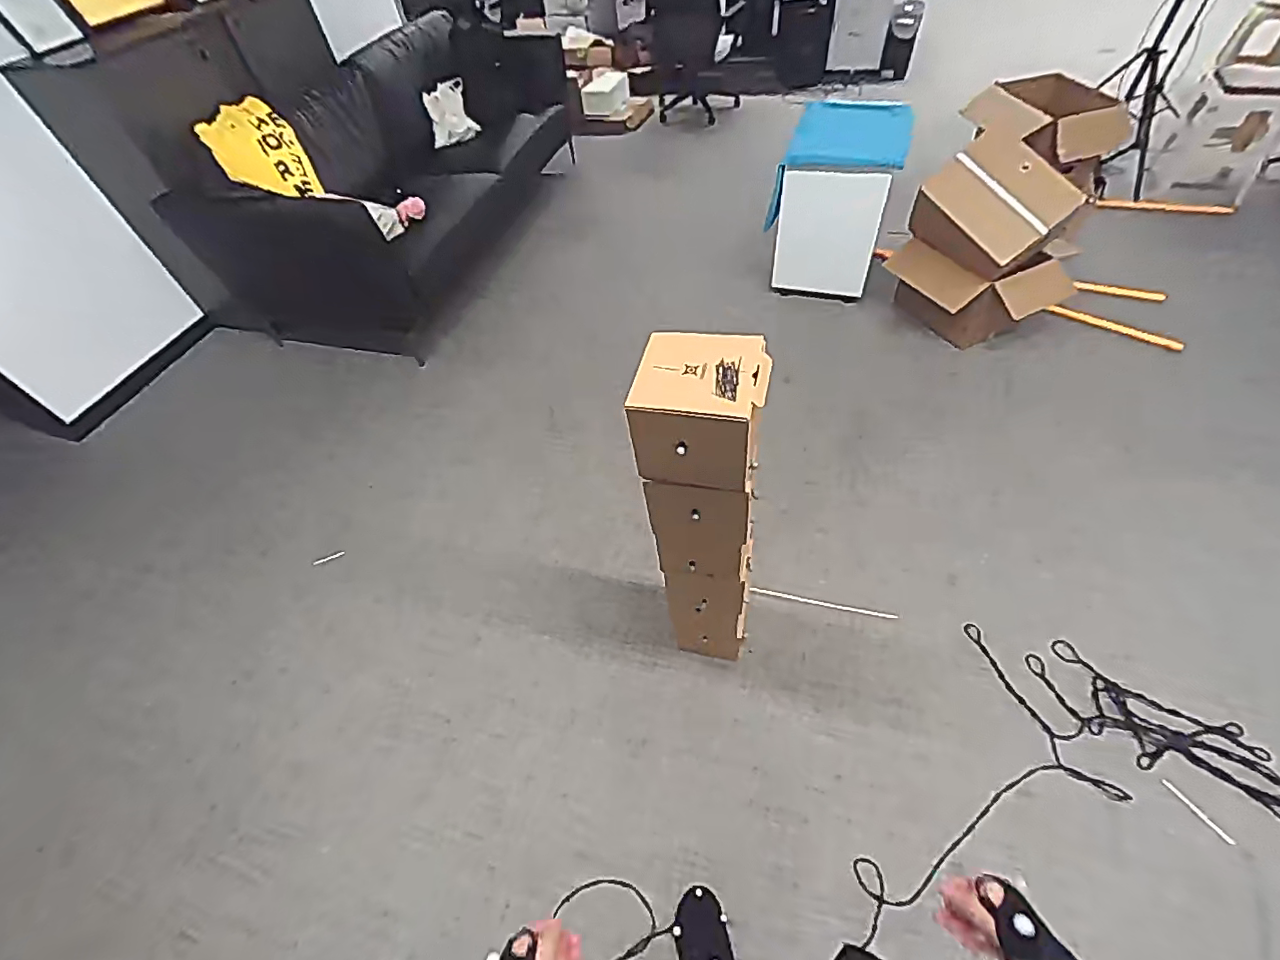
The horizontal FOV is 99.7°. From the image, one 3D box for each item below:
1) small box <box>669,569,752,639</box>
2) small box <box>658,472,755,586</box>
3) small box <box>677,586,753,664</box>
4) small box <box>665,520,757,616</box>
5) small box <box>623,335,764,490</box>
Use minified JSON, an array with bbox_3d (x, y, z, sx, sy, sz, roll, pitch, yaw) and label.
[{"bbox_3d":[0.181,0.281,1.362,0.179,0.176,0.168,8,54,15],"label":"small box"},{"bbox_3d":[0.138,0.092,1.100,0.168,0.176,0.179,6,54,14],"label":"small box"},{"bbox_3d":[0.209,0.386,1.485,0.179,0.176,0.168,9,53,14],"label":"small box"},{"bbox_3d":[0.163,0.192,1.226,0.179,0.176,0.168,7,53,13],"label":"small box"},{"bbox_3d":[0.091,-0.101,0.839,0.179,0.176,0.168,7,54,16],"label":"small box"}]
